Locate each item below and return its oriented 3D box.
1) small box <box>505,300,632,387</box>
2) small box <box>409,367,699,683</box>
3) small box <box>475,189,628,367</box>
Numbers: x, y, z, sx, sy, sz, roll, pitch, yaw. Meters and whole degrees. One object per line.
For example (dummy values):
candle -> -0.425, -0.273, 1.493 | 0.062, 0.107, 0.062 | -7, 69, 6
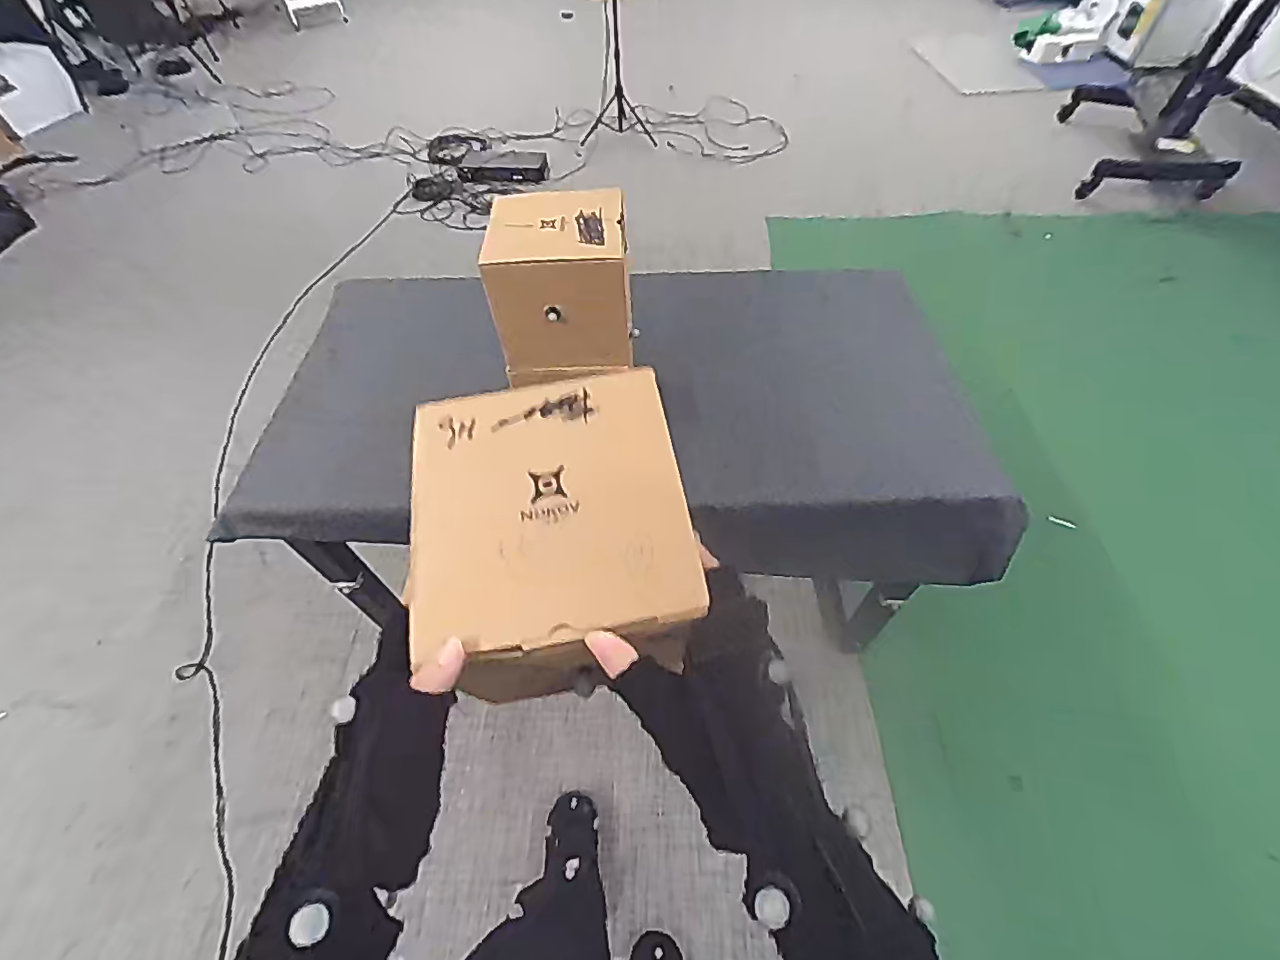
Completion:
small box -> -0.104, -0.174, 0.877 | 0.179, 0.176, 0.168 | 0, 55, 0
small box -> -0.056, 0.046, 0.403 | 0.168, 0.176, 0.179 | -10, 64, -3
small box -> -0.107, -0.273, 0.745 | 0.179, 0.176, 0.168 | -2, 55, 1
